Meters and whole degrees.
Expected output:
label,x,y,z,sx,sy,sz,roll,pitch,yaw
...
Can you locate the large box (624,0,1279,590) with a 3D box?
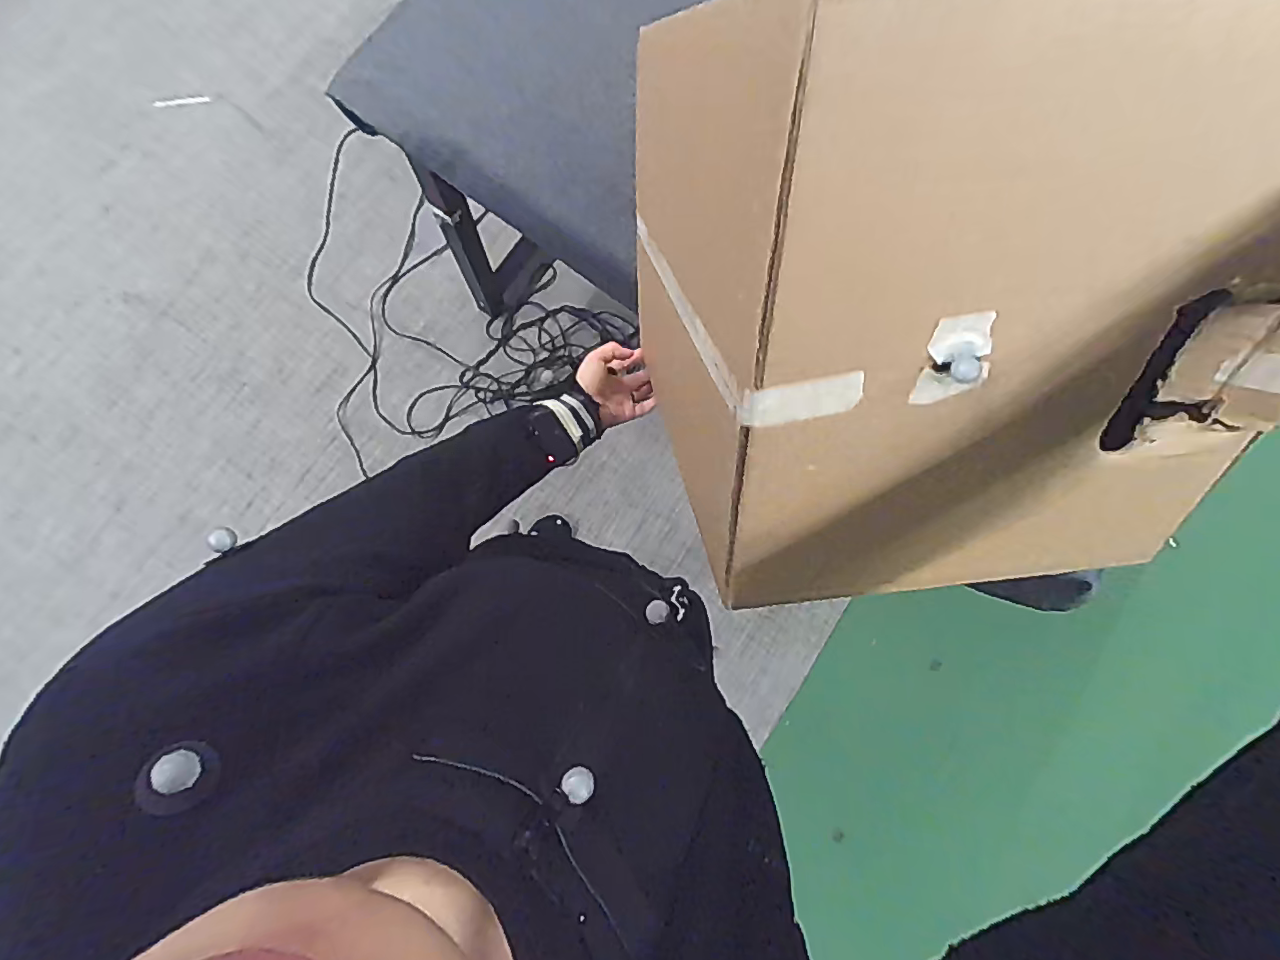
label,x,y,z,sx,sy,sz,roll,pitch,yaw
large box,0.174,-0.180,0.429,0.320,0.320,0.408,-7,39,-7
